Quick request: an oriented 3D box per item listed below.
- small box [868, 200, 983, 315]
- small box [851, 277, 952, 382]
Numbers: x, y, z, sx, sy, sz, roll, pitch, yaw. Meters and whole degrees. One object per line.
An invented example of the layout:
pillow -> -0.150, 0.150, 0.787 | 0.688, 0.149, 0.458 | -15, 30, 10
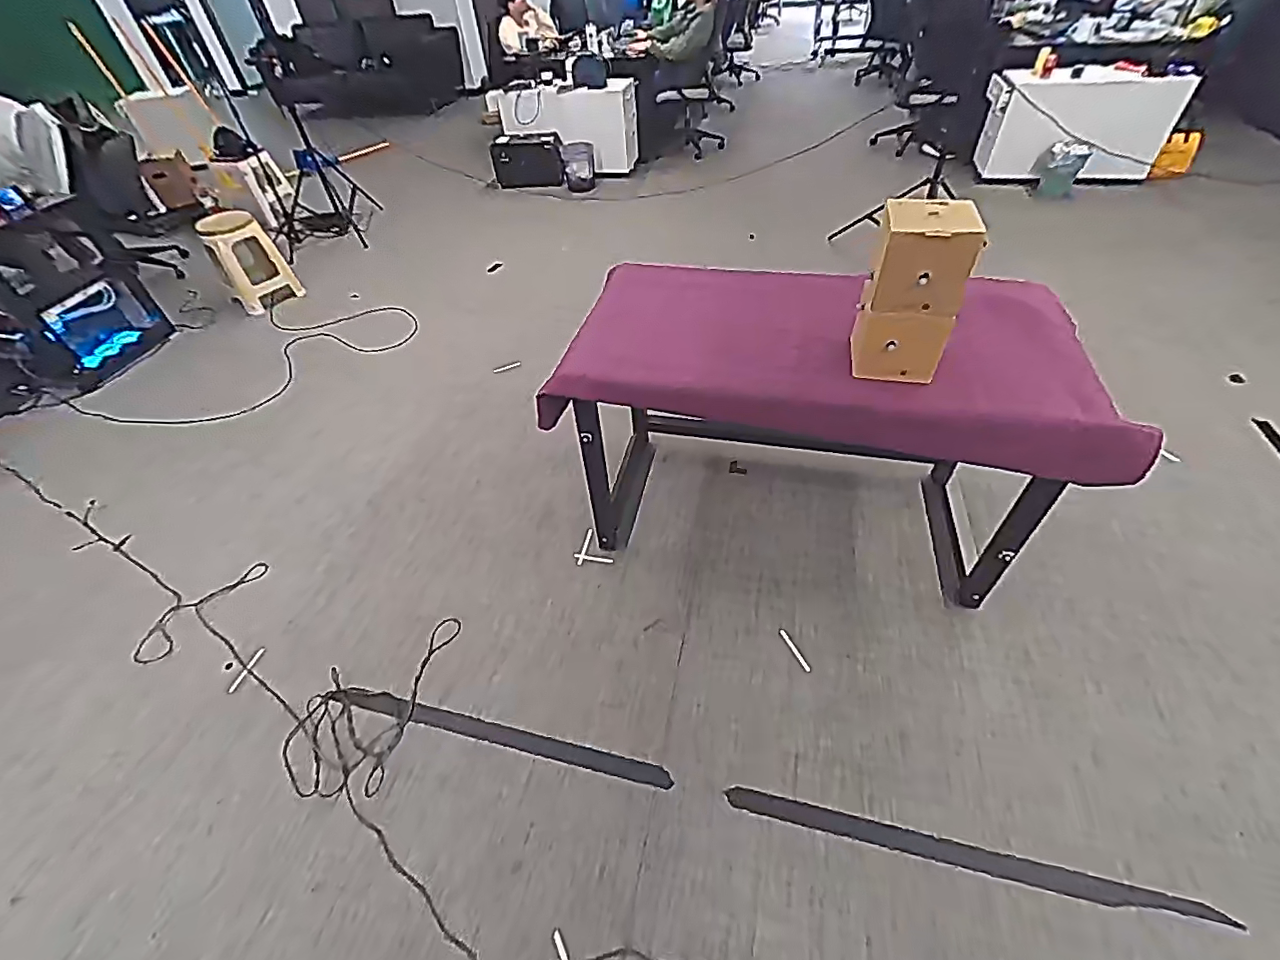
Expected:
small box -> 0.576, -0.457, 1.113 | 0.168, 0.176, 0.179 | 8, 47, 13
small box -> 0.584, -0.340, 1.228 | 0.168, 0.176, 0.179 | 7, 47, 12
